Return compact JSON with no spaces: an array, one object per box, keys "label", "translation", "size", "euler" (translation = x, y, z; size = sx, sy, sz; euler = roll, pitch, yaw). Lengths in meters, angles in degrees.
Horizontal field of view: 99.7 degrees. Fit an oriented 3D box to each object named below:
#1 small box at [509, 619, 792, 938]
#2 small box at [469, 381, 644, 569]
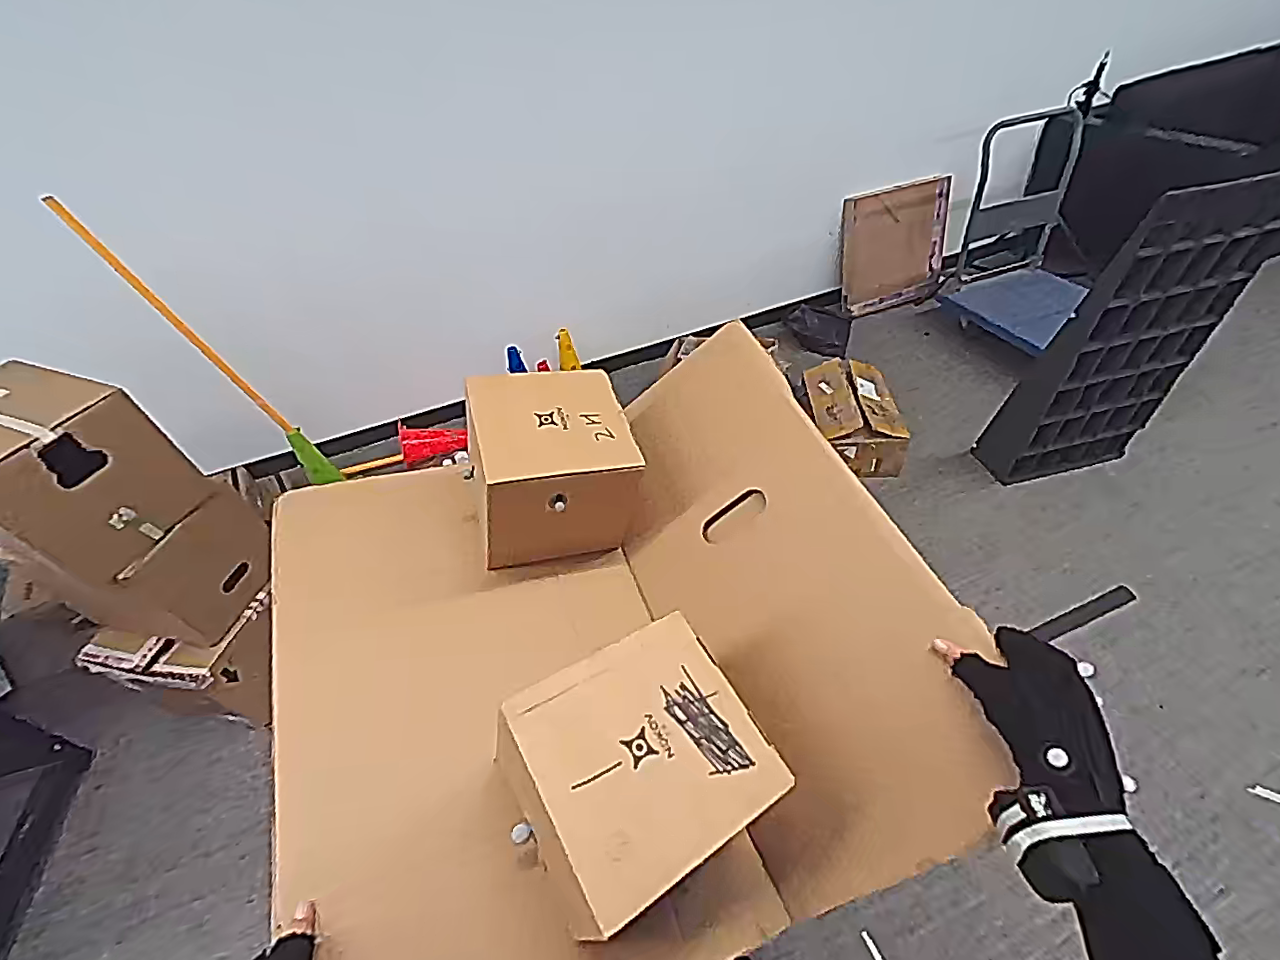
[{"label":"small box","translation":[-0.006,0.260,0.483],"size":[0.179,0.176,0.168],"euler":[-20,58,-28]},{"label":"small box","translation":[-0.114,-0.004,0.682],"size":[0.179,0.176,0.168],"euler":[-7,52,-21]}]
